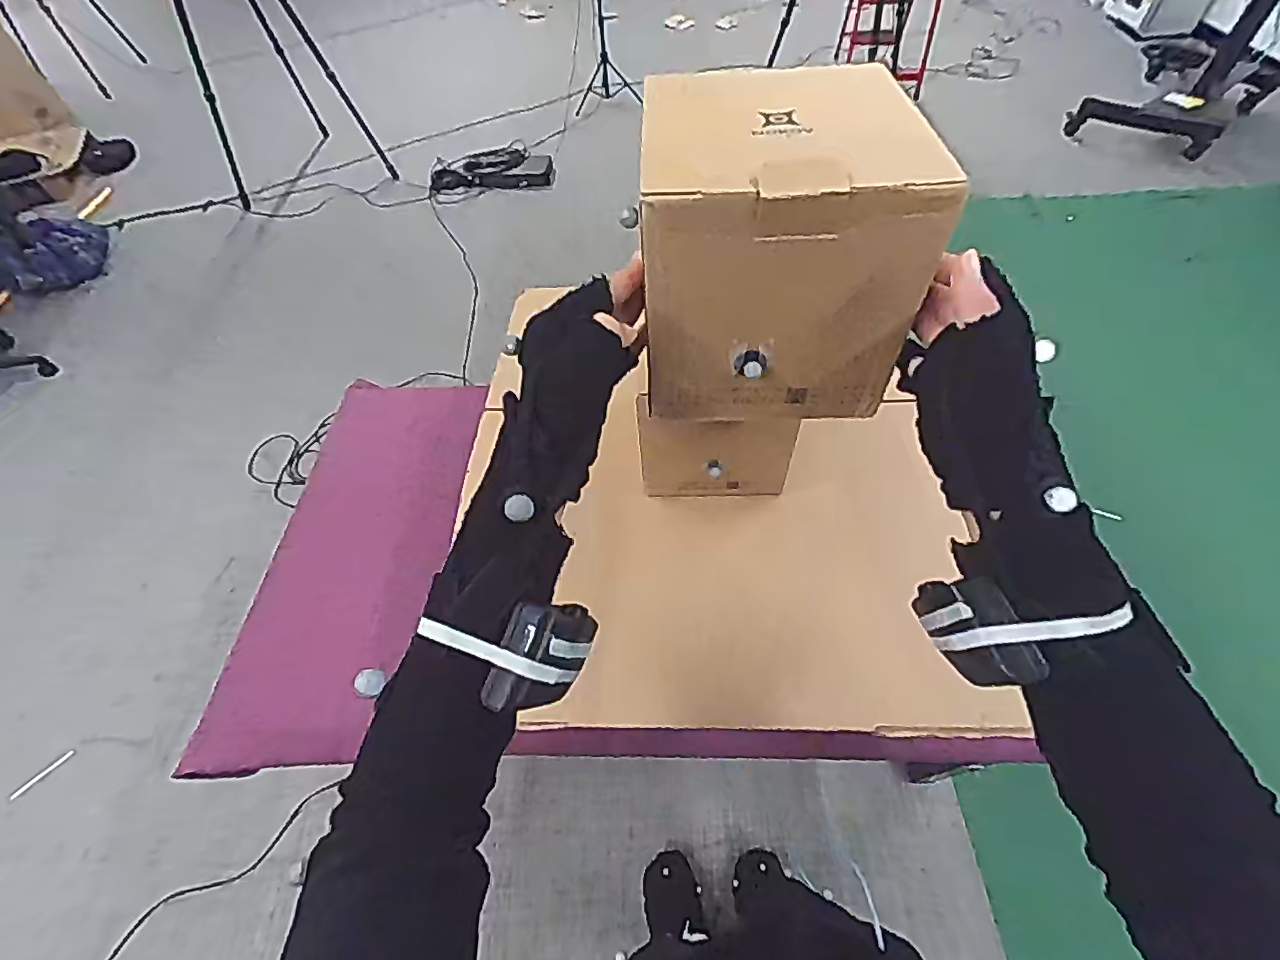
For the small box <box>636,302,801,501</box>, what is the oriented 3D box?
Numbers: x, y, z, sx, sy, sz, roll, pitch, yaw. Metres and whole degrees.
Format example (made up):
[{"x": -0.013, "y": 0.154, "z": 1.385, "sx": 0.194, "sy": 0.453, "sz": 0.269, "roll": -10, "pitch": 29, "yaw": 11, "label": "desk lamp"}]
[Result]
[{"x": 0.085, "y": -0.094, "z": 0.631, "sx": 0.168, "sy": 0.176, "sz": 0.179, "roll": -1, "pitch": 54, "yaw": 4, "label": "small box"}]

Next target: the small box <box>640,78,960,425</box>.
[{"x": 0.086, "y": -0.160, "z": 0.390, "sx": 0.168, "sy": 0.176, "sz": 0.179, "roll": -1, "pitch": 54, "yaw": 3, "label": "small box"}]
